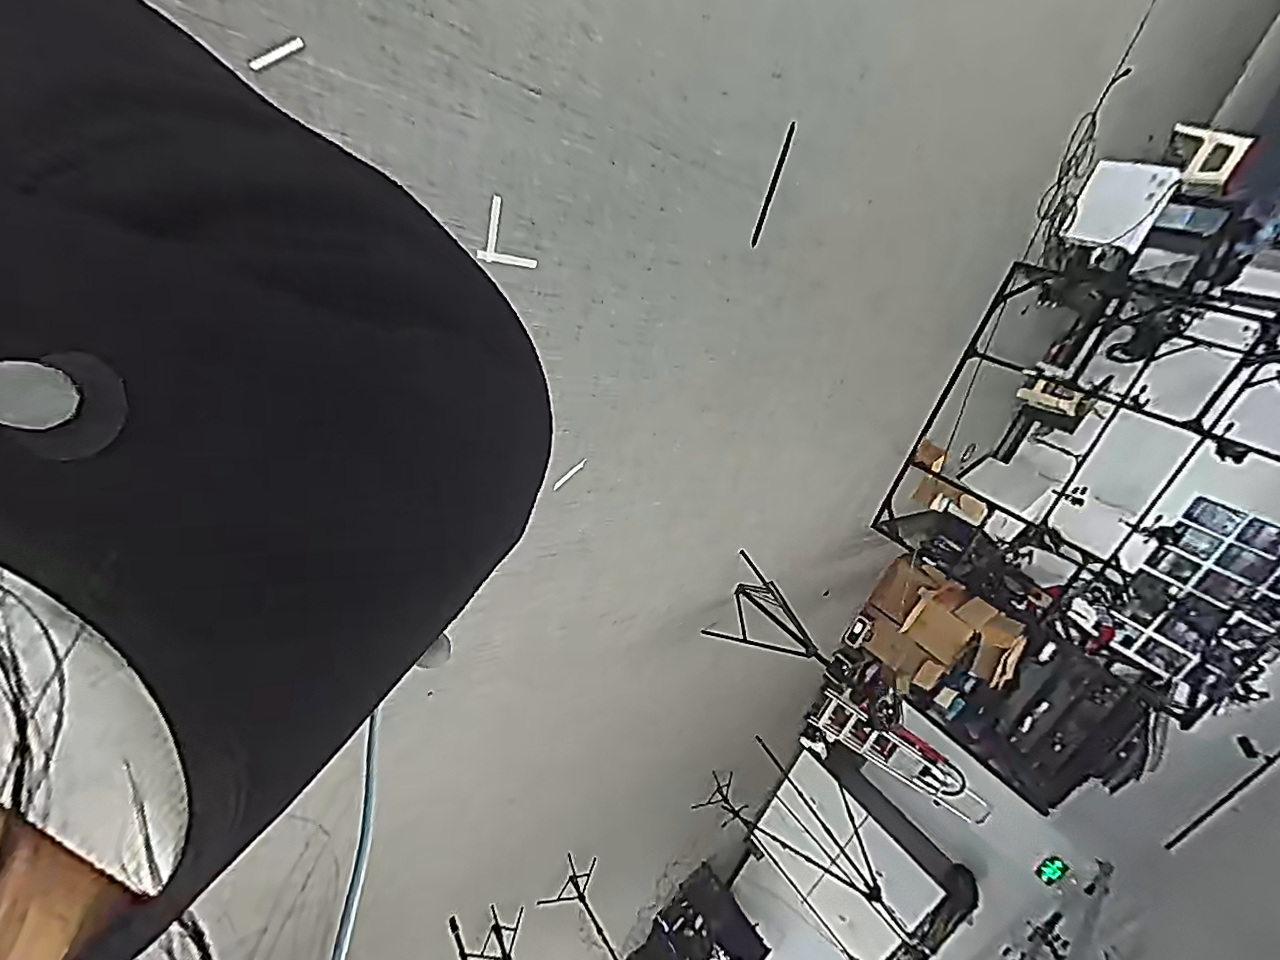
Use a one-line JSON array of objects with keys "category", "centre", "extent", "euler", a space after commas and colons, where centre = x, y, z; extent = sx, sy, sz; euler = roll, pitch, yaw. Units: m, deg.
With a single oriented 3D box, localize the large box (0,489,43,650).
[{"category": "large box", "centre": [-0.712, -0.010, 0.310], "extent": [0.320, 0.320, 0.408], "euler": [-37, 148, -31]}]
